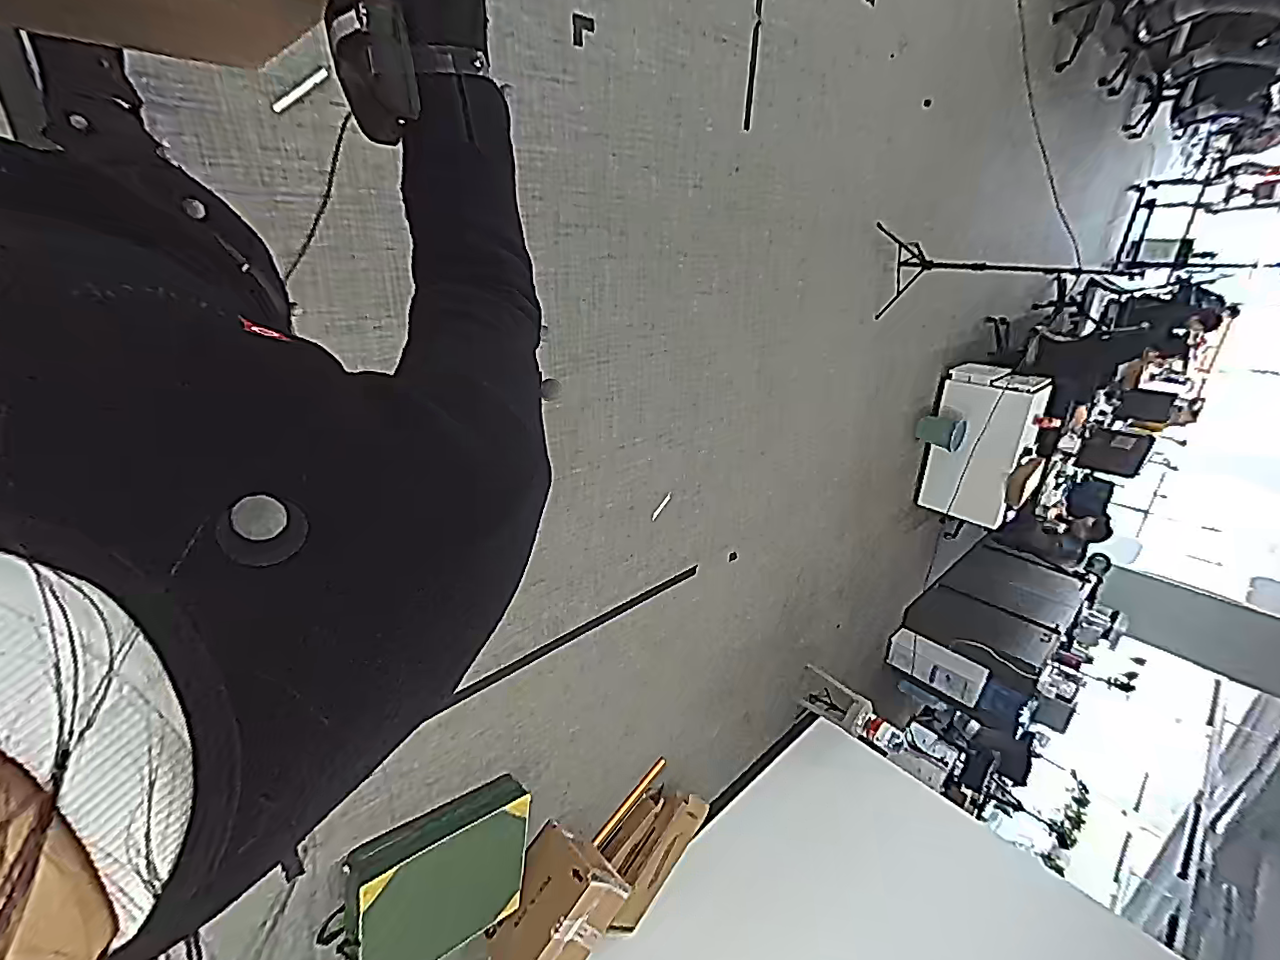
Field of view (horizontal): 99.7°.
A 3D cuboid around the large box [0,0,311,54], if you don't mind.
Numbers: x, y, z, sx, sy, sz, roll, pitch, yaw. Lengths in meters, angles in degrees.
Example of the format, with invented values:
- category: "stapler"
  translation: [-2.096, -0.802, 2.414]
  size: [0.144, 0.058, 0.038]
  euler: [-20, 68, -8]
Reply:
- category: "large box"
  translation: [-0.406, -0.423, 0.220]
  size: [0.408, 0.320, 0.320]
  euler: [-21, 126, -39]
